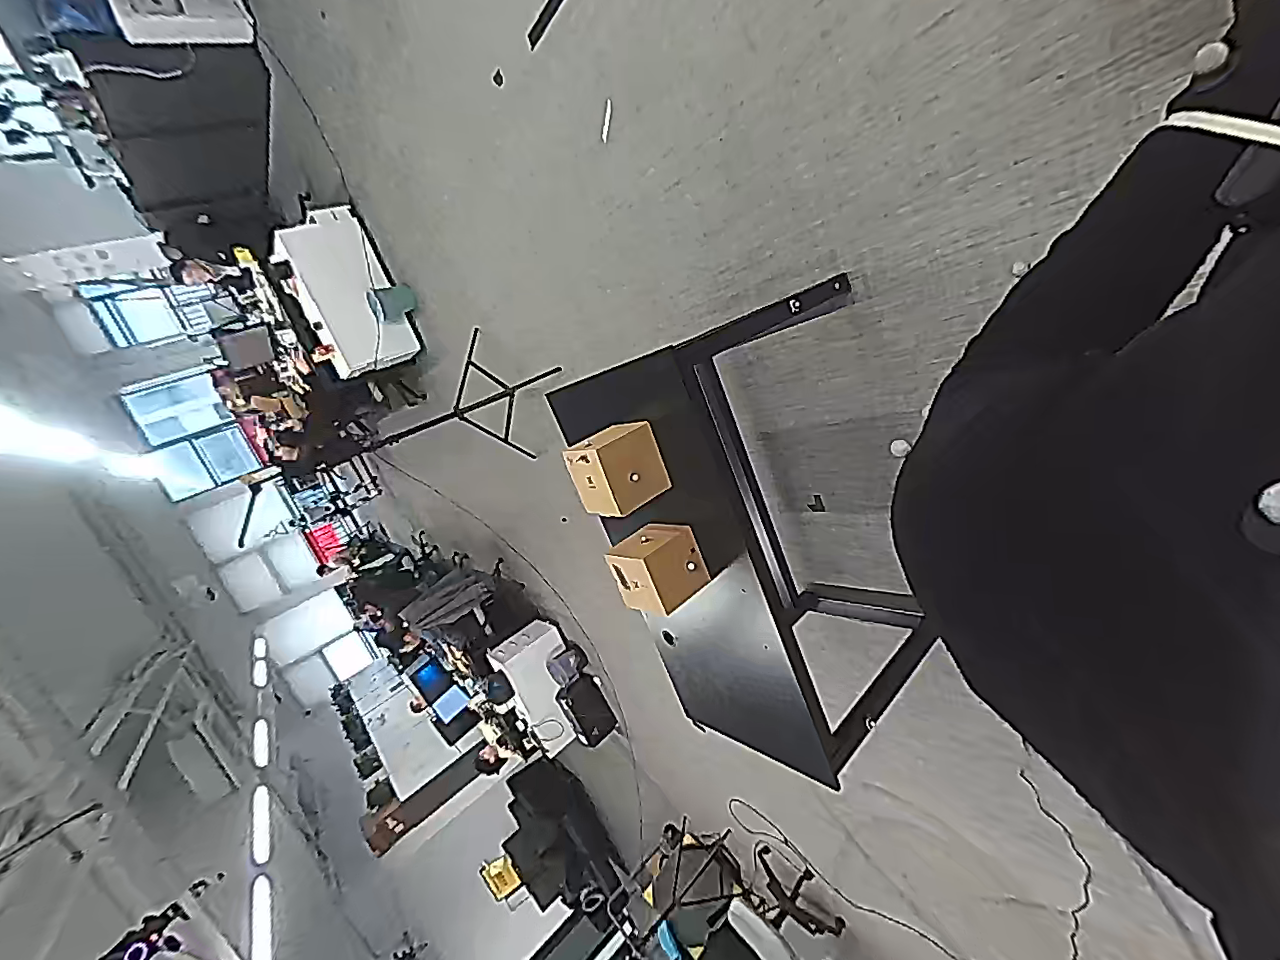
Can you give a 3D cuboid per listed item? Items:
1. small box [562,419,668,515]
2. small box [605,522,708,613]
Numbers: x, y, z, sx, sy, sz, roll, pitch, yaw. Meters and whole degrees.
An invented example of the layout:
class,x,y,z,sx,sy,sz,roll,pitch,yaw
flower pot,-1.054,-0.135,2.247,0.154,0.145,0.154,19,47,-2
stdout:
class,x,y,z,sx,sy,sz,roll,pitch,yaw
small box,-0.058,-0.035,1.336,0.168,0.176,0.179,2,118,54
small box,0.045,0.218,1.403,0.179,0.176,0.168,-3,114,54
